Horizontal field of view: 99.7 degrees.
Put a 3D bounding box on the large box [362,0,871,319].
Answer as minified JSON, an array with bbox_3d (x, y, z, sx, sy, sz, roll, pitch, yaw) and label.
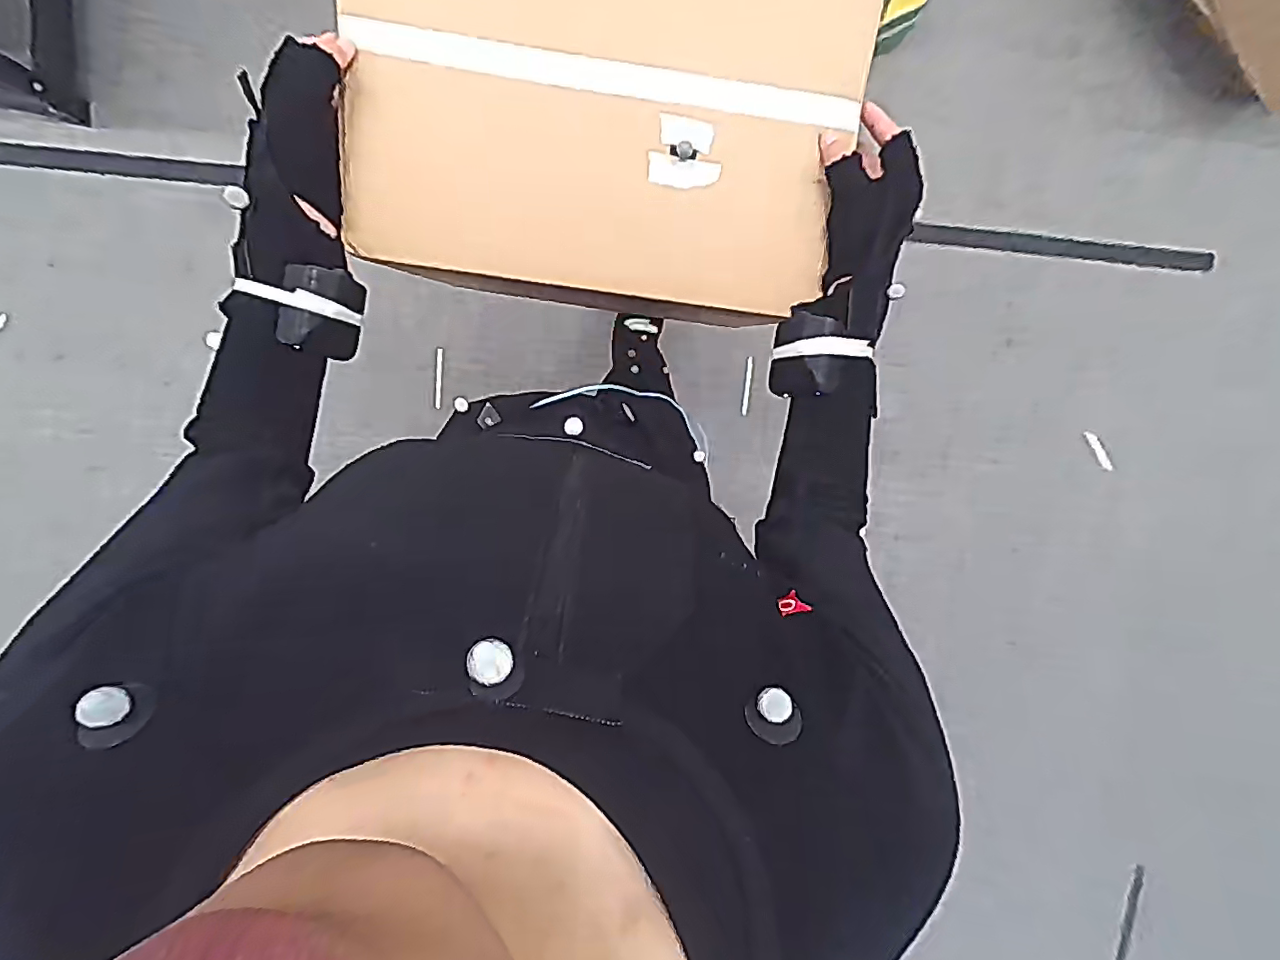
[{"bbox_3d":[-0.030,-0.360,0.582,0.408,0.320,0.320,7,105,-5],"label":"large box"}]
